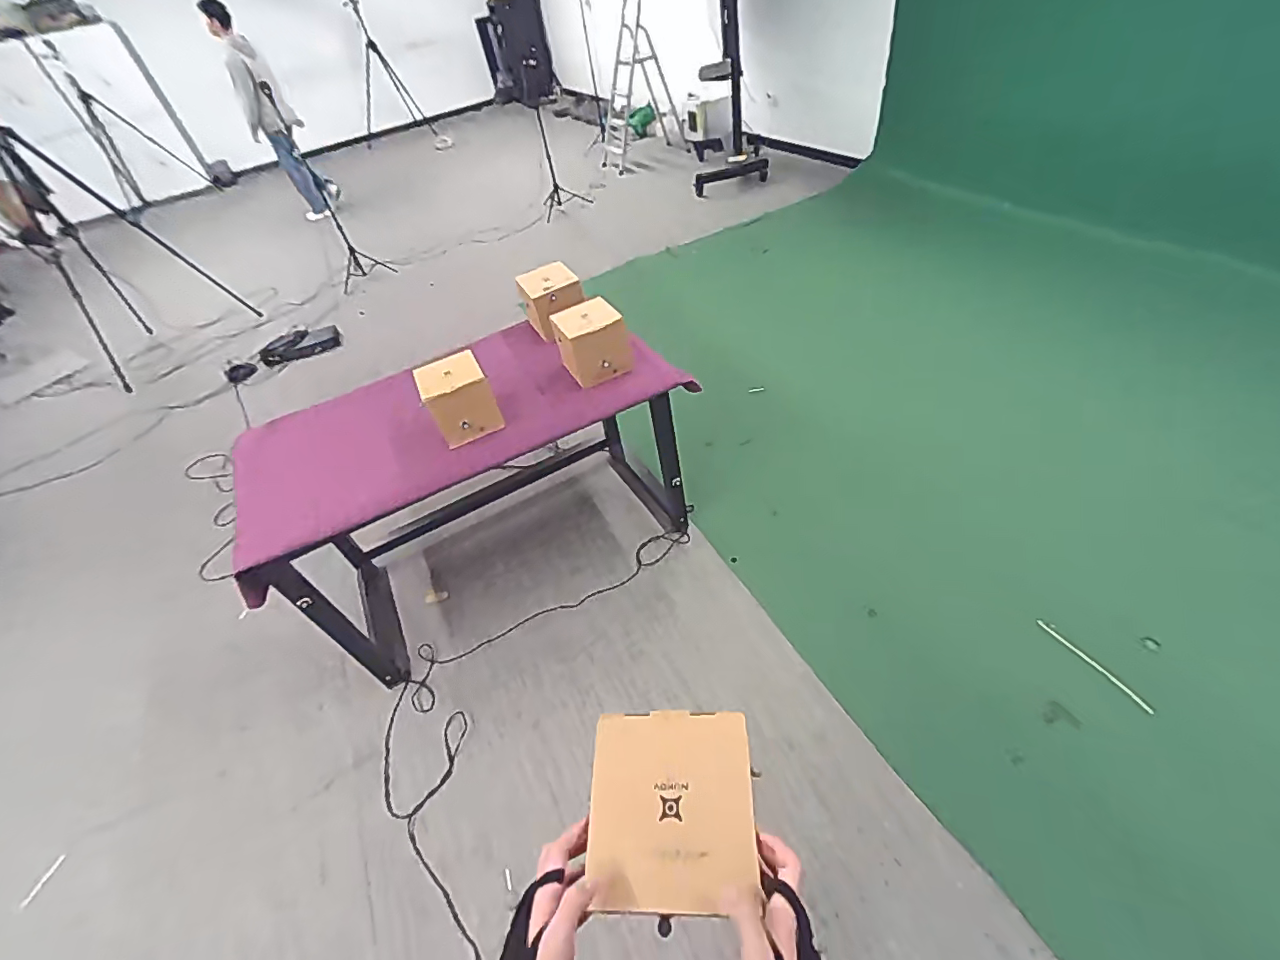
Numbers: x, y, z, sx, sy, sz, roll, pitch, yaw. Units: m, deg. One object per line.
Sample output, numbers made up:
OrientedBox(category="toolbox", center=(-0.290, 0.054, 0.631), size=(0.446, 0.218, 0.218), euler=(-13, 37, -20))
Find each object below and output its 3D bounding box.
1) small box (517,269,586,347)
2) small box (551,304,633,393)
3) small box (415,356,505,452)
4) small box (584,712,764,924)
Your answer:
OrientedBox(category="small box", center=(-0.283, -0.567, 1.789), size=(0.168, 0.176, 0.179), euler=(-27, 48, -12))
OrientedBox(category="small box", center=(-0.138, -0.381, 1.571), size=(0.168, 0.176, 0.179), euler=(-25, 45, -12))
OrientedBox(category="small box", center=(-0.490, -0.206, 1.476), size=(0.168, 0.176, 0.179), euler=(-24, 45, -13))
OrientedBox(category="small box", center=(0.041, 0.374, 0.600), size=(0.168, 0.176, 0.179), euler=(-3, 50, 7))
